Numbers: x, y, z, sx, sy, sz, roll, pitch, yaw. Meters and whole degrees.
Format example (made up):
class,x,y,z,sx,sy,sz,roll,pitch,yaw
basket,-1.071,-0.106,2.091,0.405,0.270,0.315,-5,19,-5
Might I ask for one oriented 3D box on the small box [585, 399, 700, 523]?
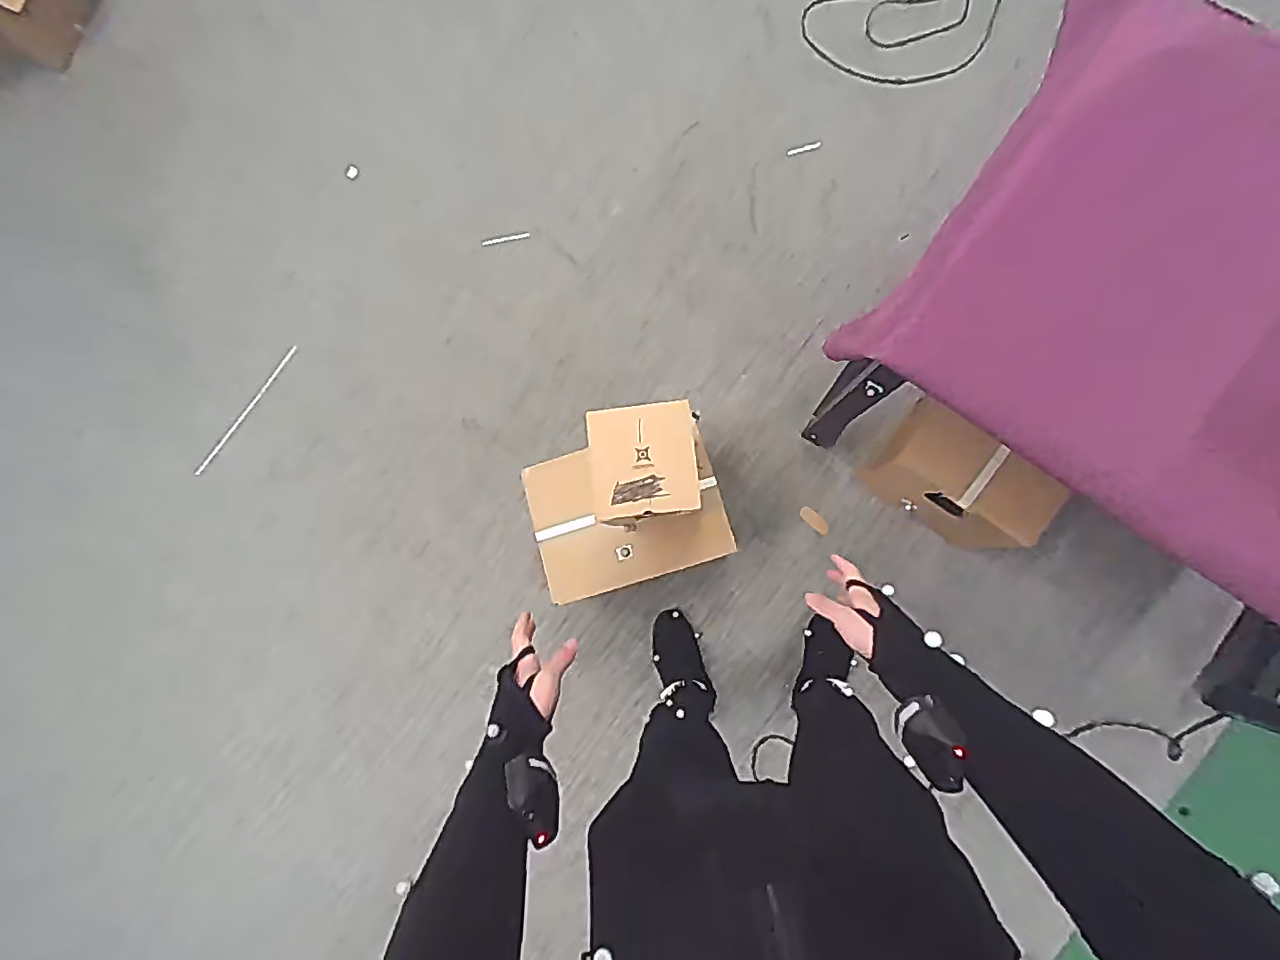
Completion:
class,x,y,z,sx,sy,sz,roll,pitch,yaw
small box,0.011,-0.021,0.896,0.168,0.176,0.179,-6,82,5

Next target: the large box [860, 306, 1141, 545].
class,x,y,z,sx,sy,sz,roll,pitch,yaw
large box,0.784,-0.098,1.242,0.320,0.320,0.408,37,87,8
